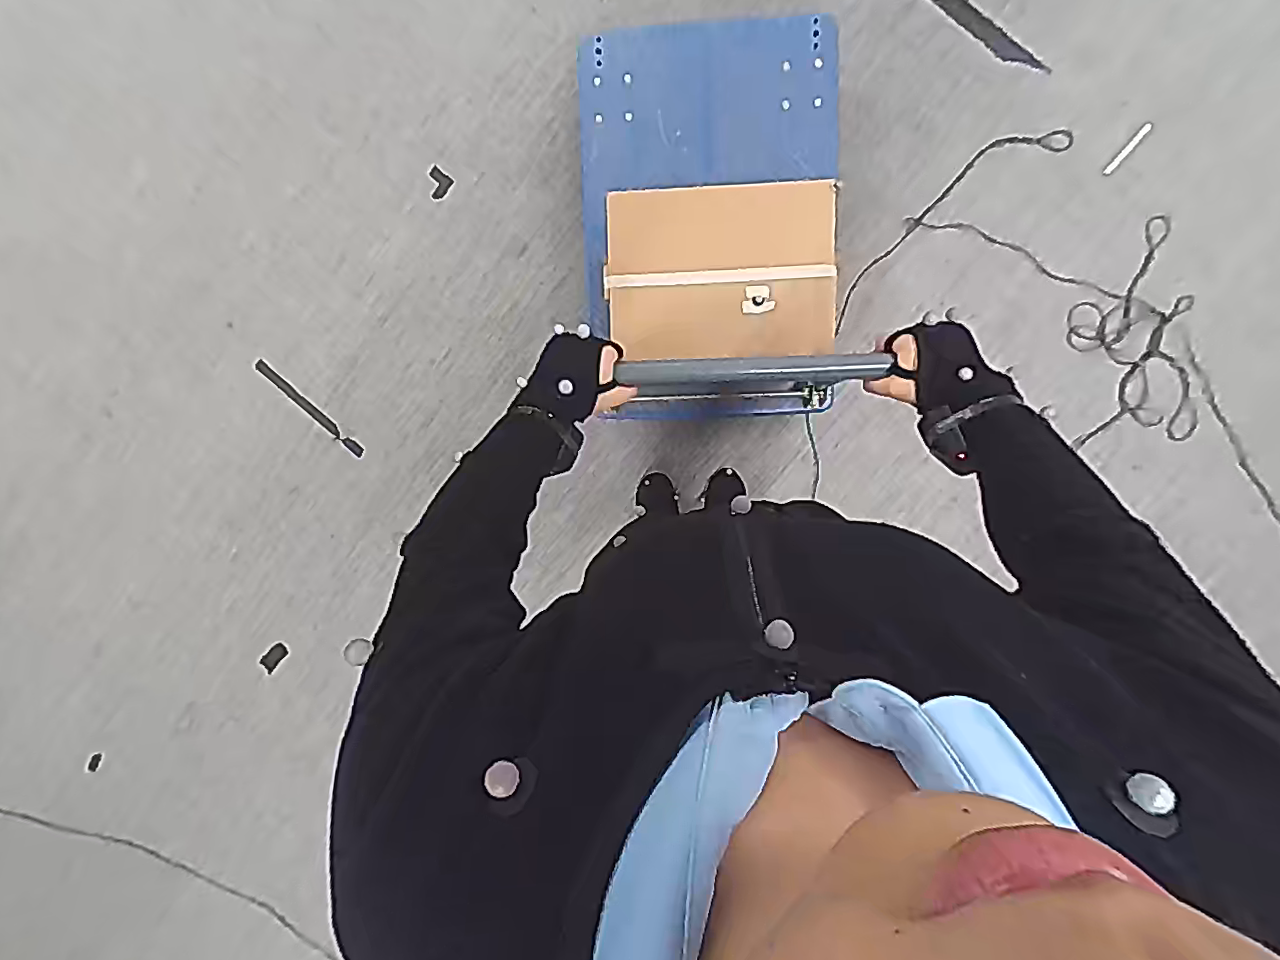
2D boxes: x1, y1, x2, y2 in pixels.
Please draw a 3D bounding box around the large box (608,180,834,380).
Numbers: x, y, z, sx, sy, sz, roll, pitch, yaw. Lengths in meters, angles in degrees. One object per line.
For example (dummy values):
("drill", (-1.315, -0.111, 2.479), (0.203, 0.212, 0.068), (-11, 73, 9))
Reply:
("large box", (0.154, -0.383, 1.123), (0.408, 0.320, 0.320), (-1, 97, 3))
